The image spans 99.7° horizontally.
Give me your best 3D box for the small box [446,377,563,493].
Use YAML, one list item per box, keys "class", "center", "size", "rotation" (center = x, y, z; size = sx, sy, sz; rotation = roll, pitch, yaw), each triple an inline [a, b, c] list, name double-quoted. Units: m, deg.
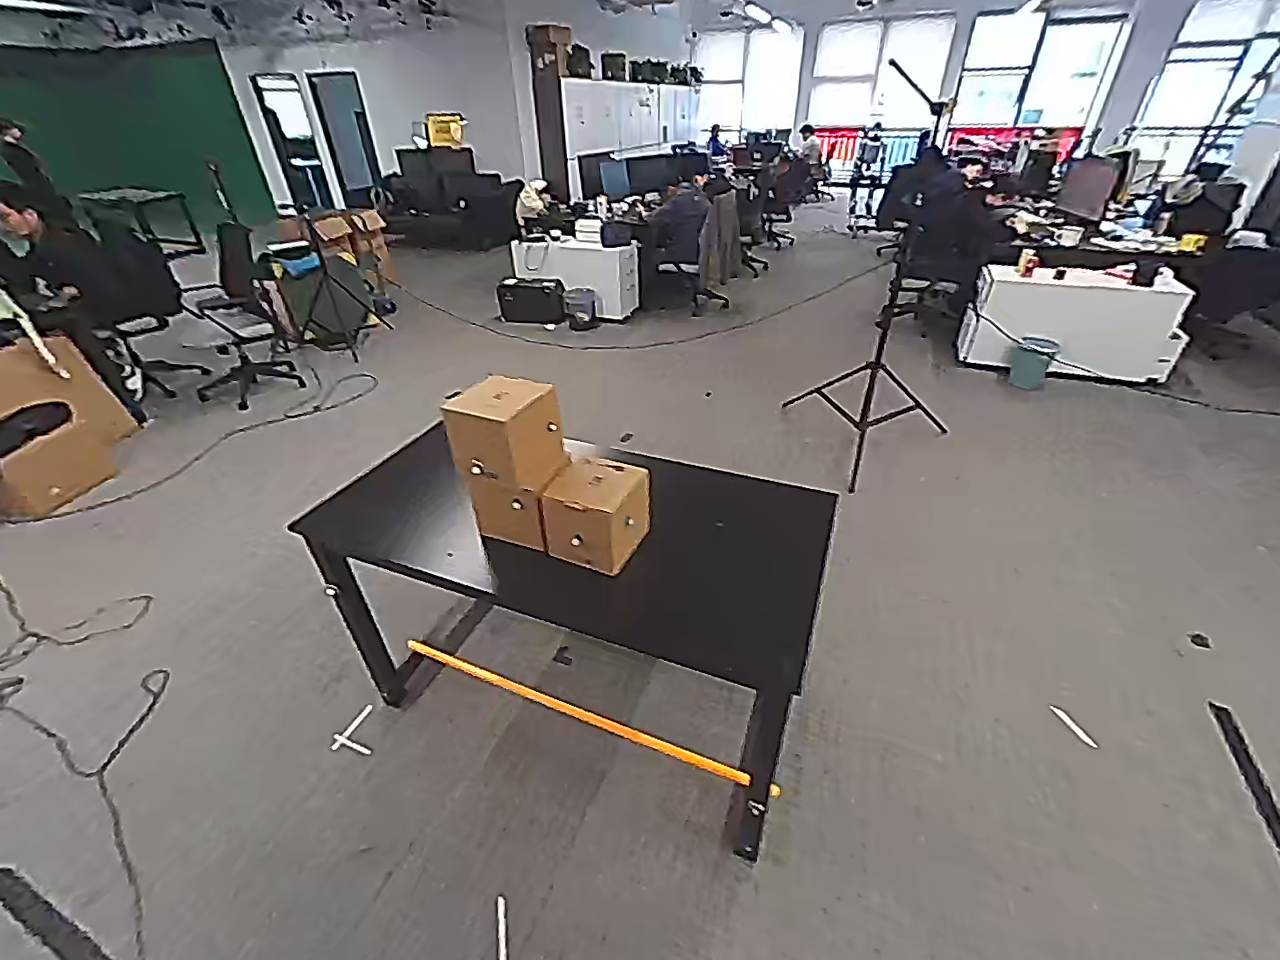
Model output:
- class: "small box"
  center: [-0.278, -0.099, 1.153]
  size: [0.168, 0.176, 0.179]
  rotation: [13, 38, 22]
